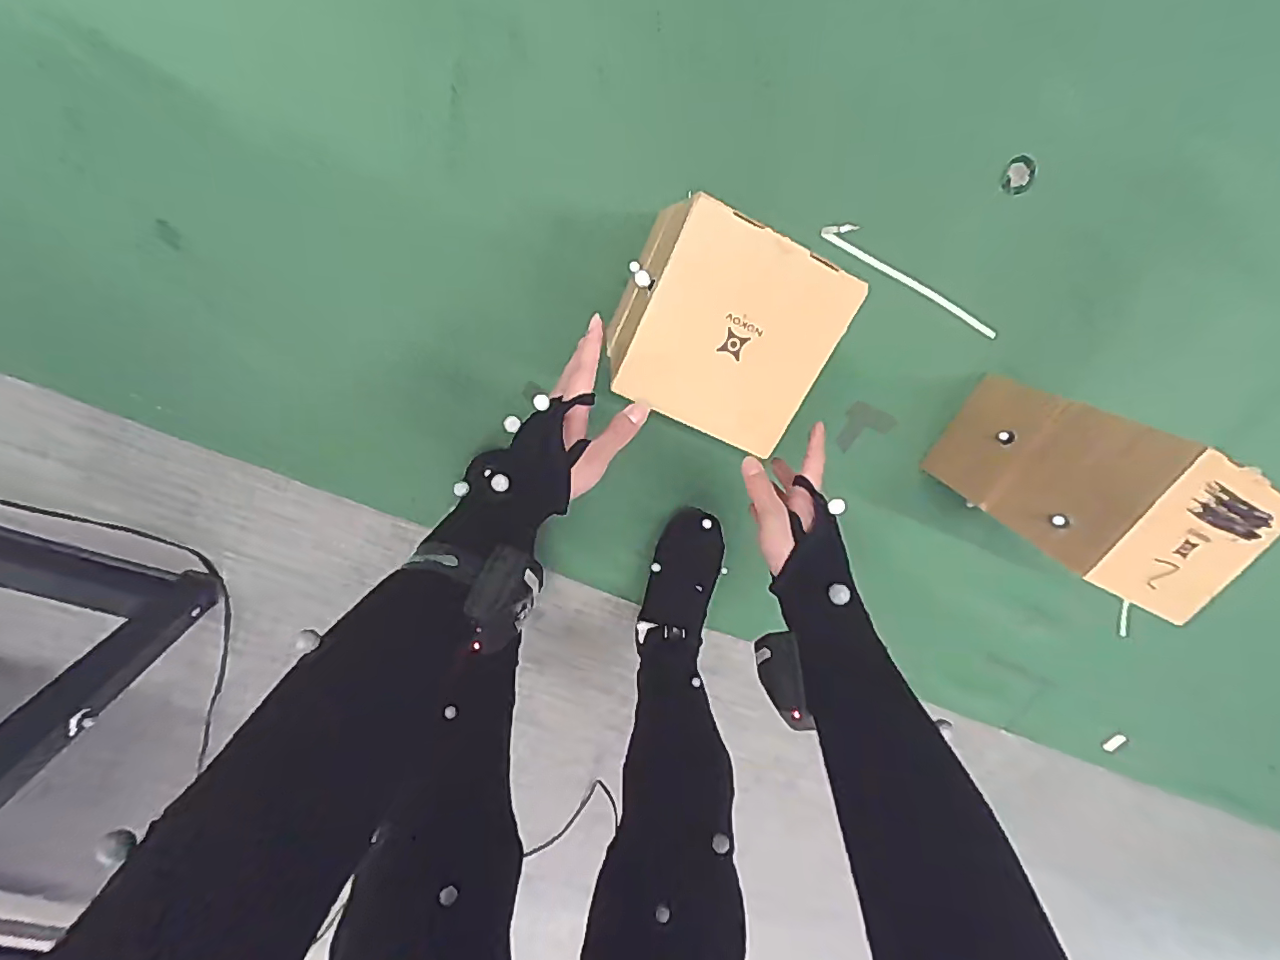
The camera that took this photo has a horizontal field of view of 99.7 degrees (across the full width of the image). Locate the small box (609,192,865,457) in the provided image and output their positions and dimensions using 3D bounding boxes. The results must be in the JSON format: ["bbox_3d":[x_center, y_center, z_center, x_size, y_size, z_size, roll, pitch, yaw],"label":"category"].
[{"bbox_3d":[0.079,-0.154,0.540,0.168,0.176,0.179,23,110,-12],"label":"small box"}]

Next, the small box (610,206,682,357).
[{"bbox_3d":[0.068,-0.221,0.686,0.168,0.176,0.179,23,112,-12],"label":"small box"}]

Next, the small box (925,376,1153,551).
[{"bbox_3d":[0.570,-0.033,0.802,0.168,0.176,0.179,25,111,-14],"label":"small box"}]
